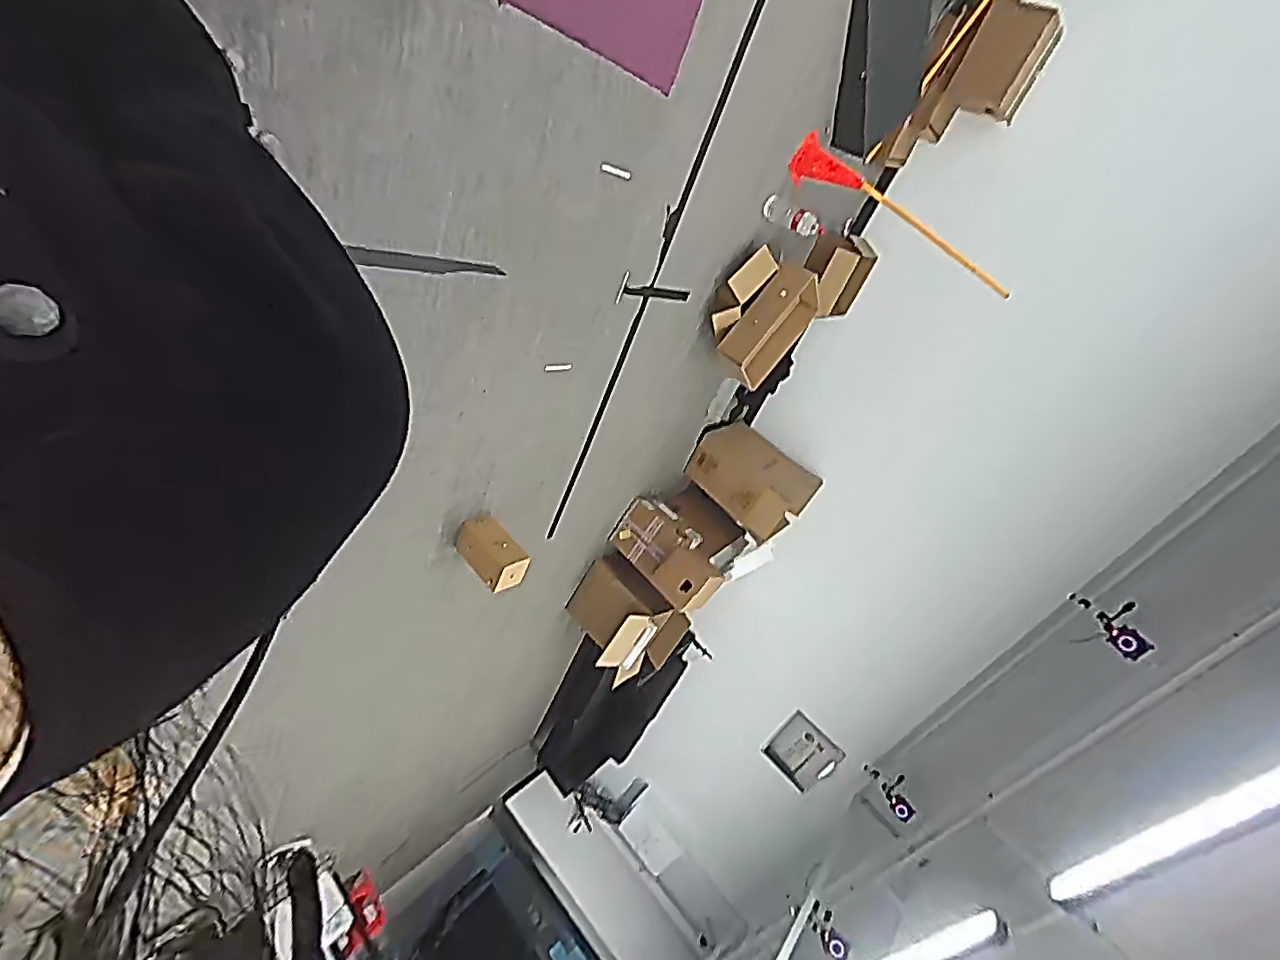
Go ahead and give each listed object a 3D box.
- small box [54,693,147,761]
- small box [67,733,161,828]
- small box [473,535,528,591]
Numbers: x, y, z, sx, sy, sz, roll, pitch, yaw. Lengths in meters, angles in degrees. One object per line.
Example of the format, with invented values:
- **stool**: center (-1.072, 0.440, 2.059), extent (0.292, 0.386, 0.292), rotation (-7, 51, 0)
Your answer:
- **small box**: center (-1.755, 0.829, 1.760), extent (0.168, 0.176, 0.179), rotation (-22, 146, -45)
- **small box**: center (-1.644, 0.929, 1.691), extent (0.168, 0.176, 0.179), rotation (-22, 145, -46)
- **small box**: center (-0.672, 0.391, 2.577), extent (0.168, 0.176, 0.179), rotation (-16, 140, -53)
